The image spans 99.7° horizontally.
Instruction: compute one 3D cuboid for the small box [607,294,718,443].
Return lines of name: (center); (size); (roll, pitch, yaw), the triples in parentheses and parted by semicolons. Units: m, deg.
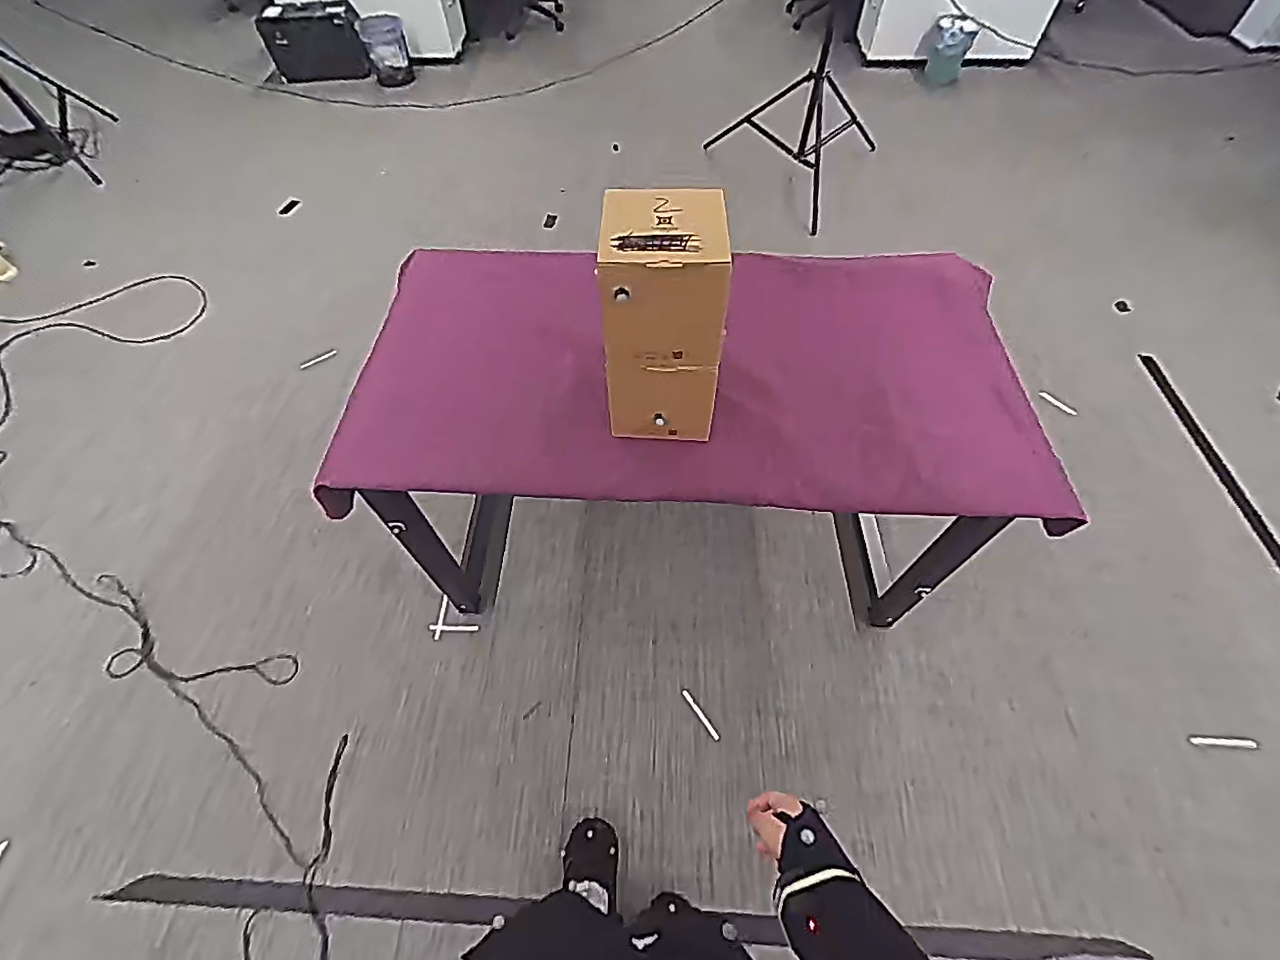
small box: (0.039, -0.184, 0.904); (0.168, 0.176, 0.179); (3, 56, 3)
